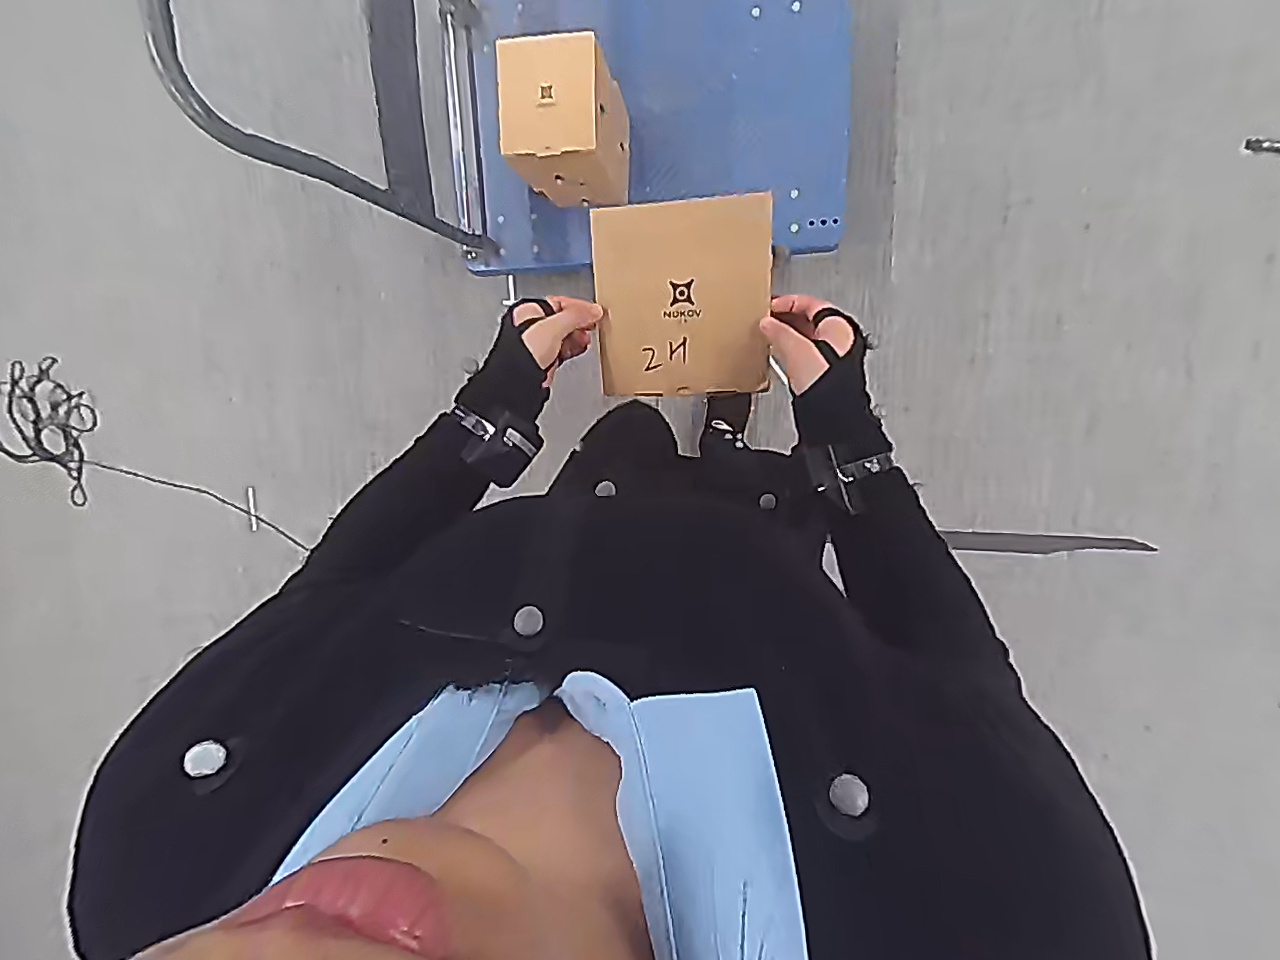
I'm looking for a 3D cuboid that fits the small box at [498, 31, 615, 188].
[{"bbox_3d":[-0.140,-0.638,0.952,0.168,0.176,0.179,1,101,8],"label":"small box"}]

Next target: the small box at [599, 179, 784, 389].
[{"bbox_3d":[0.061,-0.196,0.571,0.168,0.176,0.179,0,108,12],"label":"small box"}]
